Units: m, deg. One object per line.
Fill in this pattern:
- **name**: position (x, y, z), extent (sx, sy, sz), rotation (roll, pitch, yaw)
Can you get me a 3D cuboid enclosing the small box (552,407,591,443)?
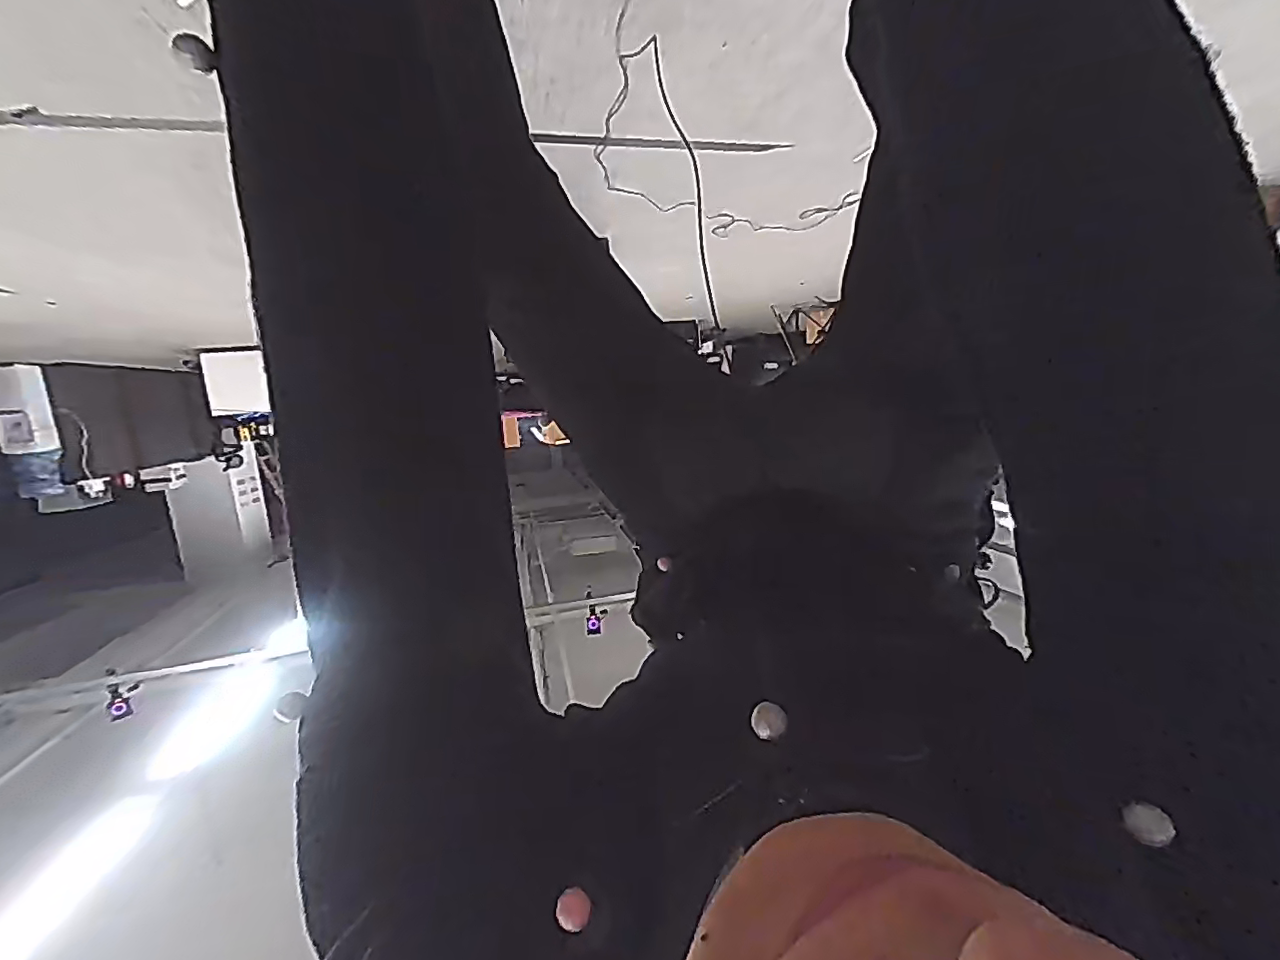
- **small box**: position (-0.359, -0.289, 2.808), extent (0.168, 0.176, 0.179), rotation (-8, -170, -19)
